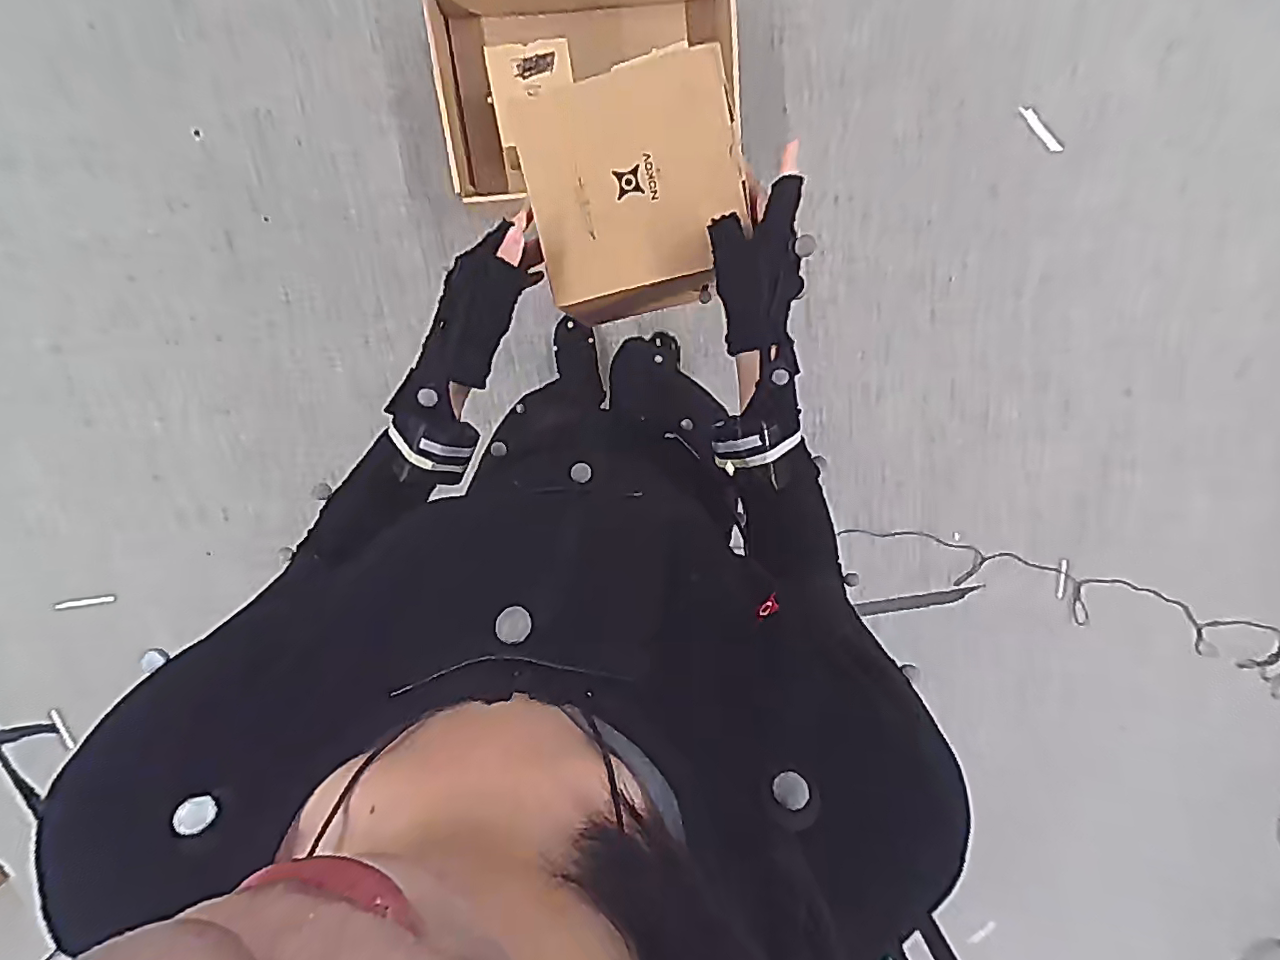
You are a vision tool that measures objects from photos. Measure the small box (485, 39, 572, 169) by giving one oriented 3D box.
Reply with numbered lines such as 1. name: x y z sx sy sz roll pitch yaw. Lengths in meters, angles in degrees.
1. small box: -0.220 -0.788 1.149 0.168 0.176 0.179 -9 107 -4

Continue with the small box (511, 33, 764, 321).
1. small box: 0.004 -0.258 0.508 0.179 0.176 0.168 -13 98 7
